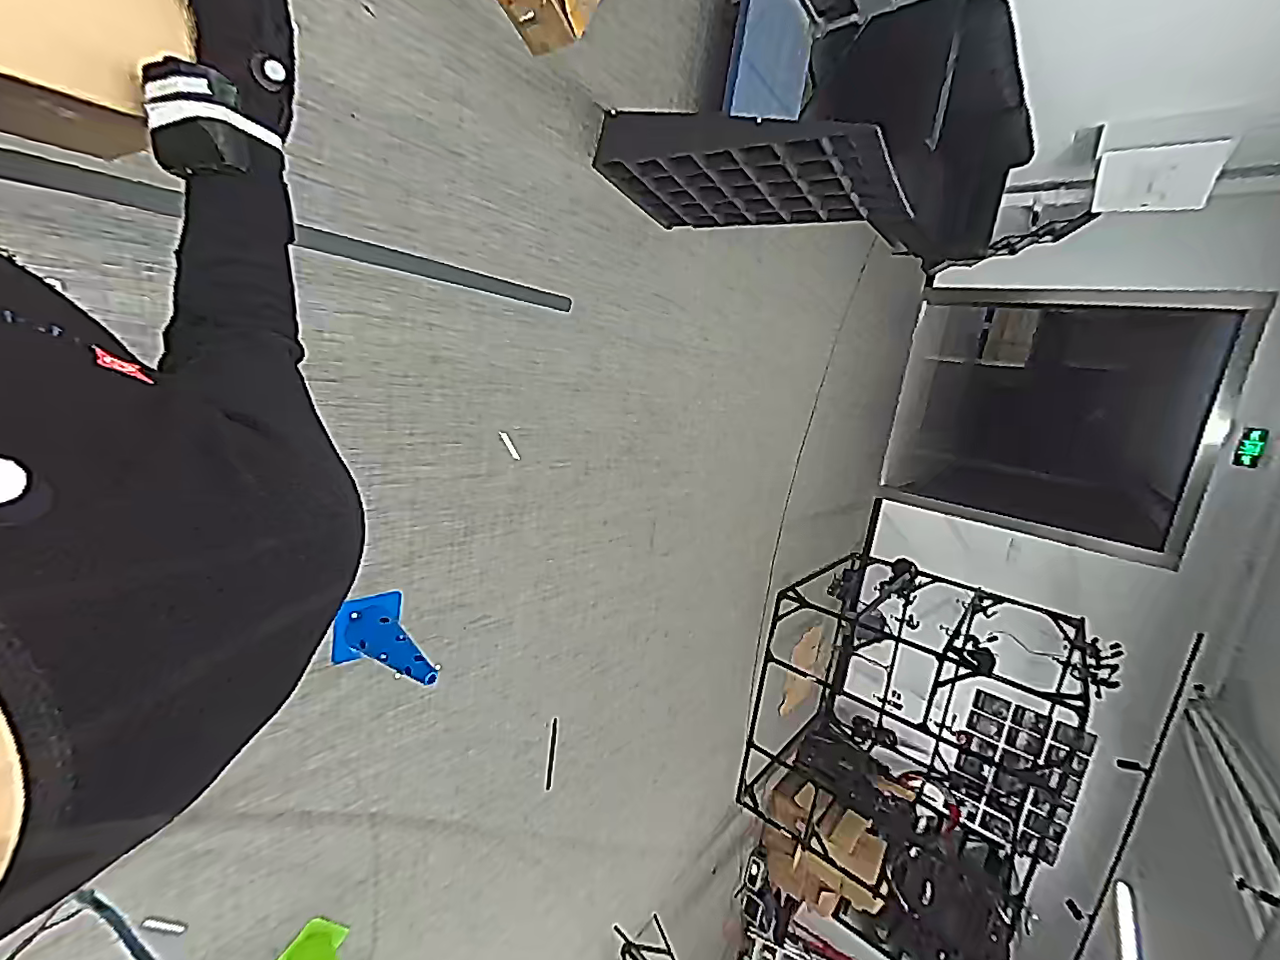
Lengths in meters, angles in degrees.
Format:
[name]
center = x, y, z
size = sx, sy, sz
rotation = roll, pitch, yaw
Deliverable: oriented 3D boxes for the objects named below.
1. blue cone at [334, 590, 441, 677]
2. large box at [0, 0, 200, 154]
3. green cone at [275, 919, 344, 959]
[blue cone]
center = -0.708, 0.477, 1.563
size = 0.192, 0.380, 0.193
rotation = -1, 105, -54
[large box]
center = -0.553, -0.430, 0.304
size = 0.408, 0.320, 0.320
rotation = -10, 114, -53
[green cone]
center = -0.954, 1.579, 1.648
size = 0.202, 0.368, 0.200
rotation = -49, 139, -31
